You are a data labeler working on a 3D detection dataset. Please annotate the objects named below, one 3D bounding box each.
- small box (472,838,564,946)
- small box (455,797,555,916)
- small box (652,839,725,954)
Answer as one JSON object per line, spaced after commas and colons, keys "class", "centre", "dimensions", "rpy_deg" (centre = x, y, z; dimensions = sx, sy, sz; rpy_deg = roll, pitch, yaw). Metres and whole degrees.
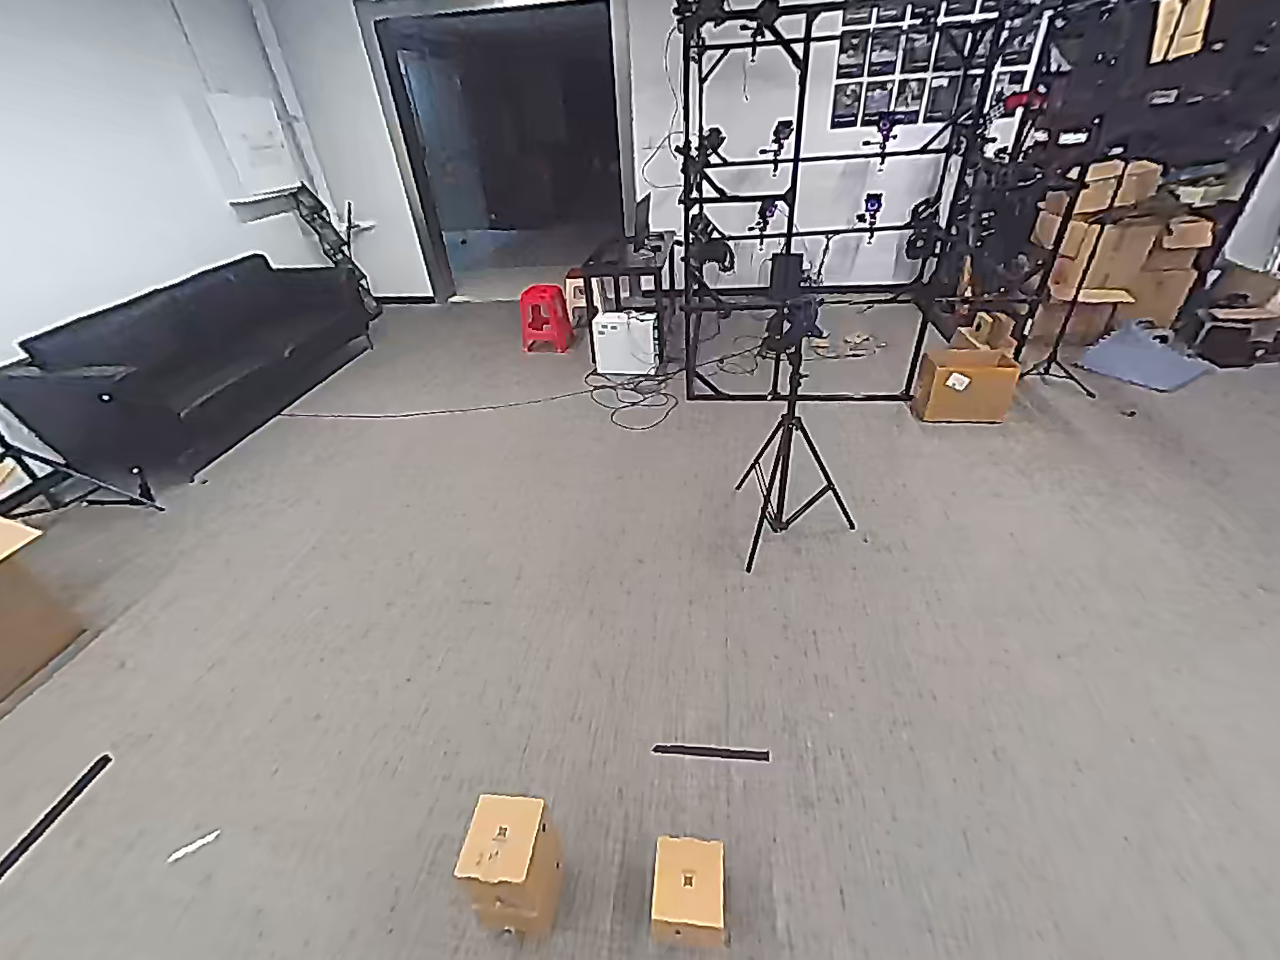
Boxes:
{"class": "small box", "centre": [-0.294, 1.020, 1.354], "dimensions": [0.168, 0.176, 0.179], "rpy_deg": [0, 35, 9]}
{"class": "small box", "centre": [-0.305, 0.880, 1.268], "dimensions": [0.168, 0.176, 0.179], "rpy_deg": [0, 35, 9]}
{"class": "small box", "centre": [0.123, 1.015, 1.317], "dimensions": [0.168, 0.176, 0.179], "rpy_deg": [1, 34, 7]}
